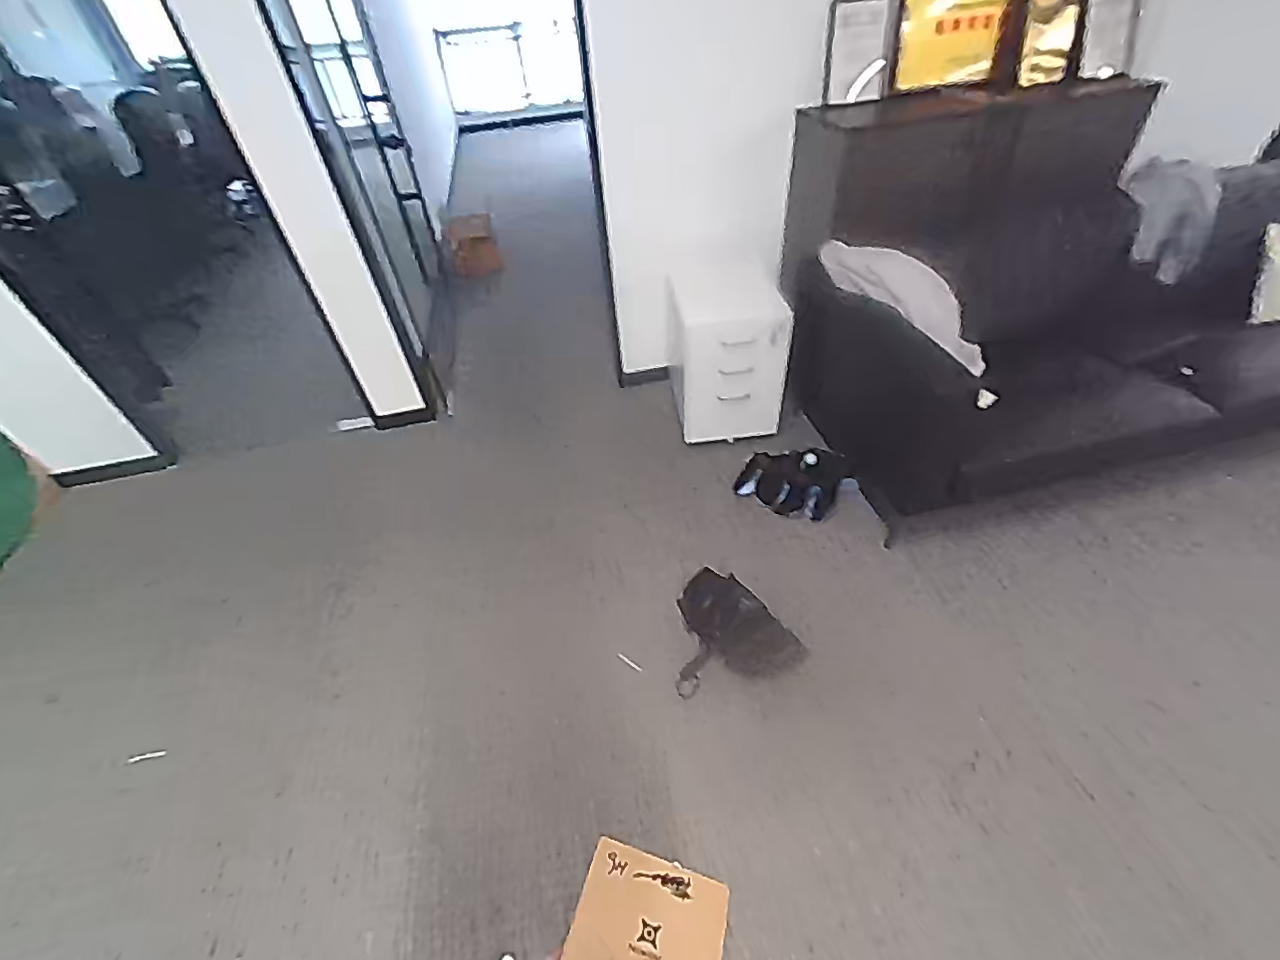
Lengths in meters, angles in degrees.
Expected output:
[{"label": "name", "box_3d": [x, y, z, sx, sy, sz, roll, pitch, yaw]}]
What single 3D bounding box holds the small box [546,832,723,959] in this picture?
[{"label": "small box", "box_3d": [-0.017, 0.552, 0.602, 0.168, 0.176, 0.179, 17, 28, 9]}]
